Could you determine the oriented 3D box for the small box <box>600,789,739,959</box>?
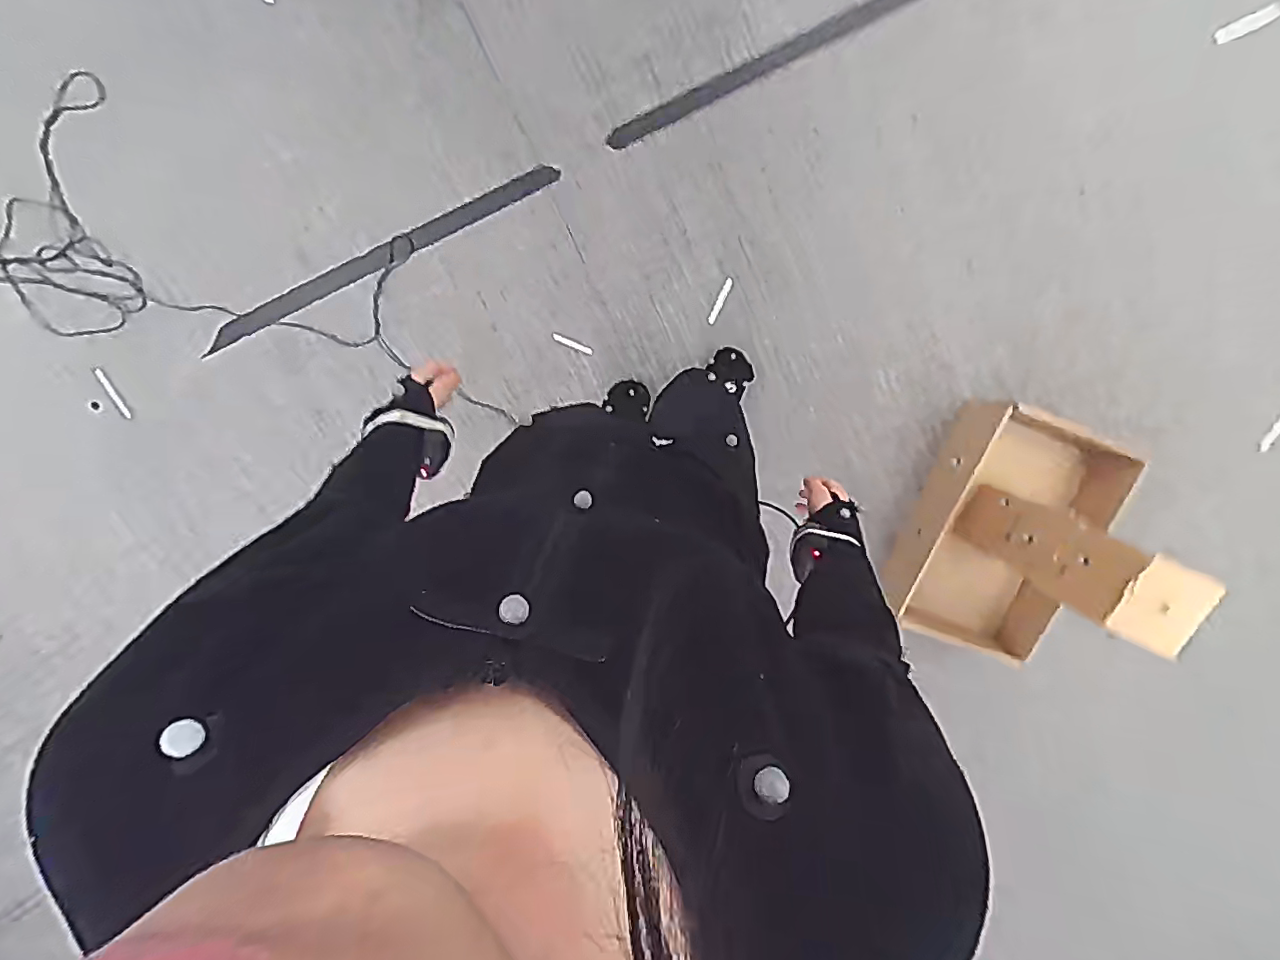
[{"bbox_3d":[0.046,0.689,0.936,0.168,0.176,0.179,27,102,-8],"label":"small box"}]

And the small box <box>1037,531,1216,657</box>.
[{"bbox_3d":[0.987,0.226,1.114,0.179,0.176,0.168,24,103,-7],"label":"small box"}]

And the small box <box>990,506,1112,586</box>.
[{"bbox_3d":[0.978,0.176,1.270,0.179,0.176,0.168,25,103,-7],"label":"small box"}]
